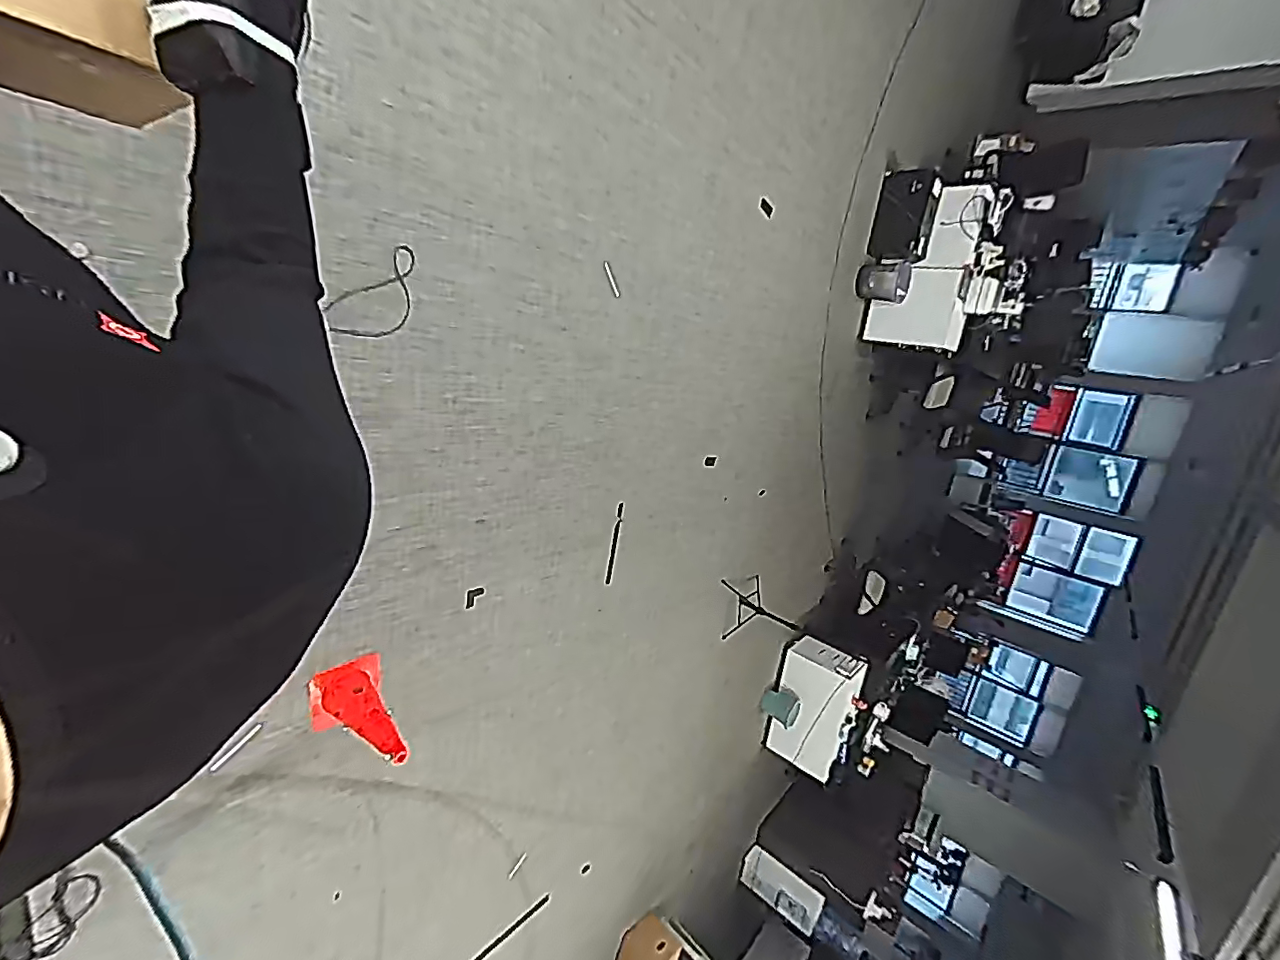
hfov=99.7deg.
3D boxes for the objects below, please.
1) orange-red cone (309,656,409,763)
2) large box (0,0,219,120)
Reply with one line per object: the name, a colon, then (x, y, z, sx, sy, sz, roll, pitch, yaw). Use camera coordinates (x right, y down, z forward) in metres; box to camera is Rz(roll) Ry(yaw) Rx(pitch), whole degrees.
orange-red cone: (-0.767, 0.691, 1.543, 0.198, 0.360, 0.199, -12, 113, -49)
large box: (-0.537, -0.466, 0.306, 0.408, 0.320, 0.320, -9, 114, -51)
